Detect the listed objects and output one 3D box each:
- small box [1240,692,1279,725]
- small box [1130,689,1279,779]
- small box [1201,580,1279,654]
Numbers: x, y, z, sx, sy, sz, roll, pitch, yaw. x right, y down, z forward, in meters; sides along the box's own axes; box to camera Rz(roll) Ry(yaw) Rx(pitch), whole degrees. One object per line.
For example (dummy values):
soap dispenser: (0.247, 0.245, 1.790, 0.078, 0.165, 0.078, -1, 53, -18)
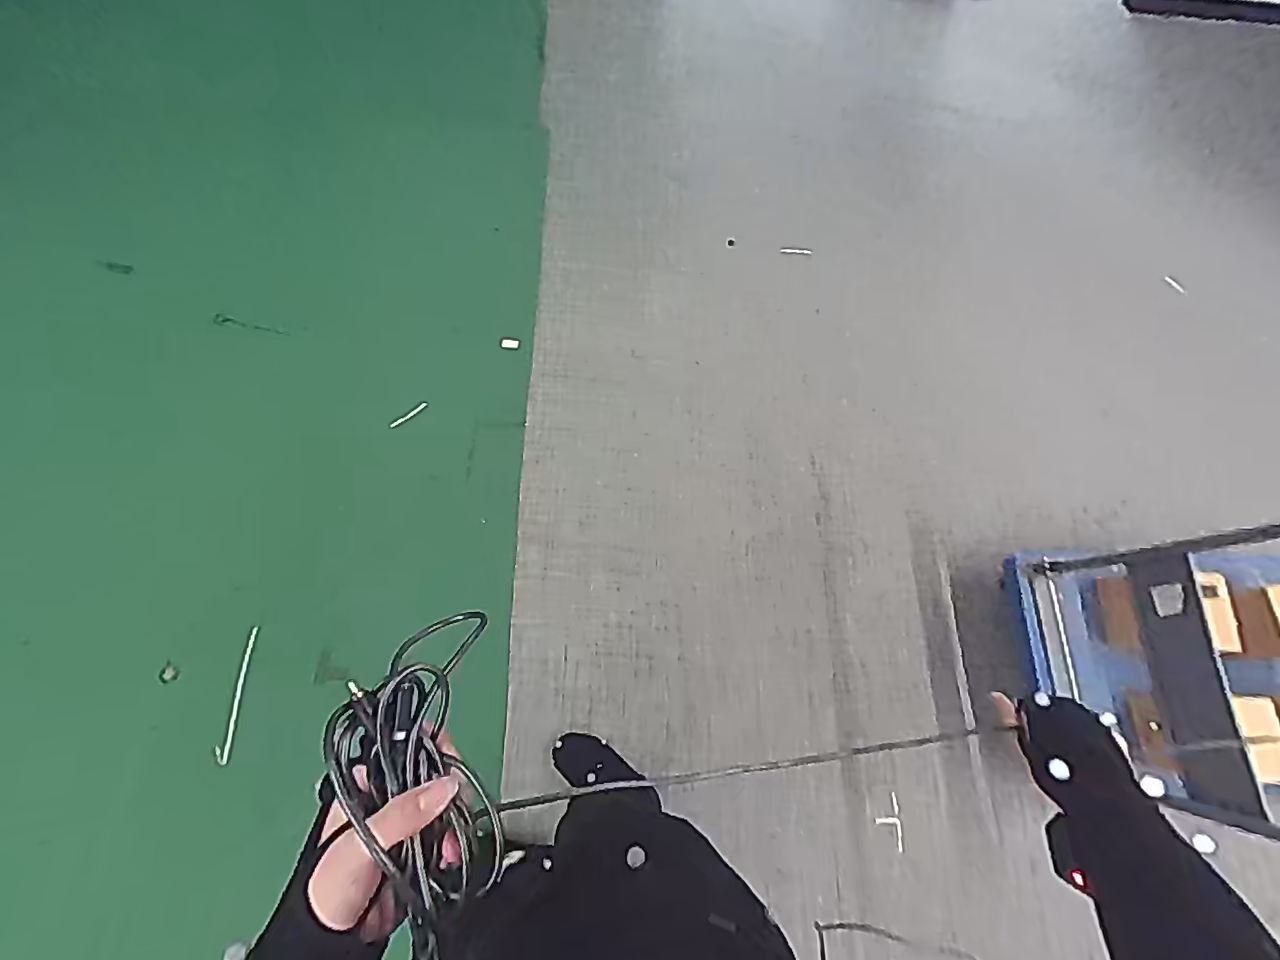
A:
small box: (1.548, 0.579, 1.239, 0.179, 0.176, 0.168, -1, 72, -3)
small box: (1.284, 0.568, 1.226, 0.179, 0.176, 0.168, 2, 72, -2)
small box: (1.536, 0.335, 1.316, 0.179, 0.176, 0.168, -2, 73, -5)
